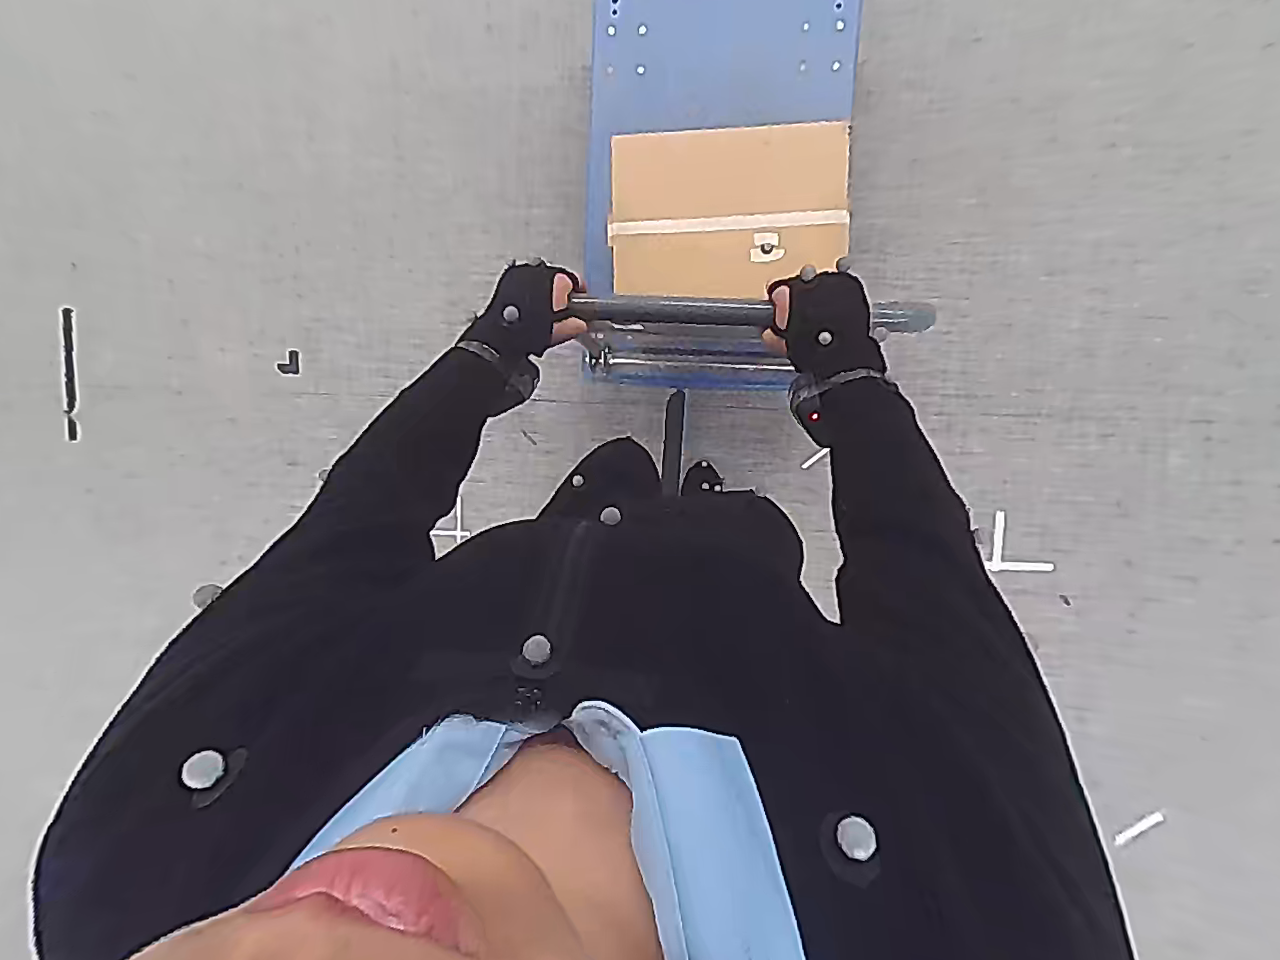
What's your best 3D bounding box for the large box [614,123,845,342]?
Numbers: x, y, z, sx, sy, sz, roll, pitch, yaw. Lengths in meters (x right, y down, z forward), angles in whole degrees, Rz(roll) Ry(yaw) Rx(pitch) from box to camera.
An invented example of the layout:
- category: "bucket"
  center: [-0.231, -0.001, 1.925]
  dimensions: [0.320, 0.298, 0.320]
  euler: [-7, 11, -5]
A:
- category: "large box"
  center: [0.166, -0.467, 1.098]
  dimensions: [0.408, 0.320, 0.320]
  euler: [0, 97, 5]
